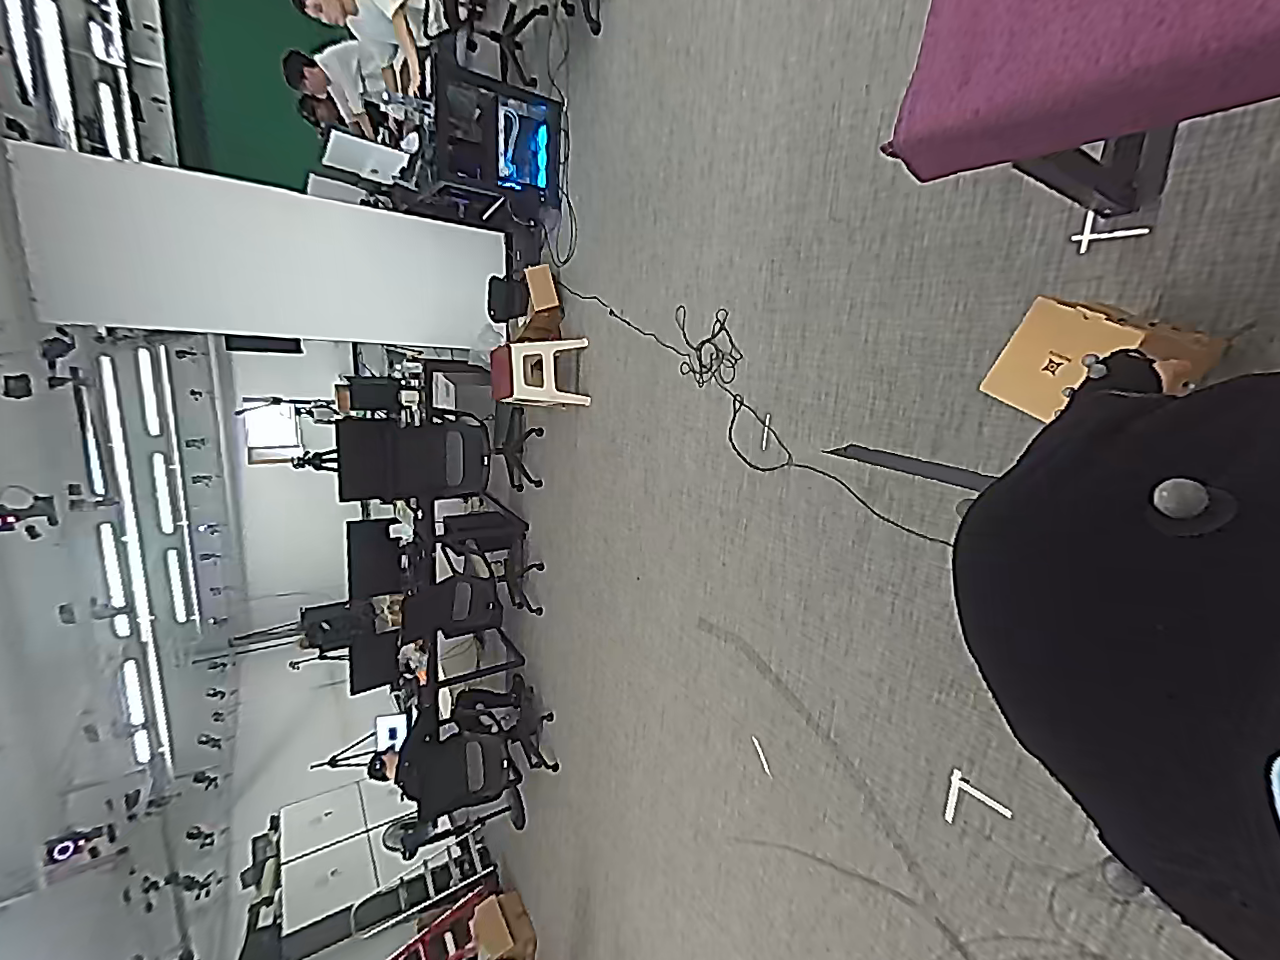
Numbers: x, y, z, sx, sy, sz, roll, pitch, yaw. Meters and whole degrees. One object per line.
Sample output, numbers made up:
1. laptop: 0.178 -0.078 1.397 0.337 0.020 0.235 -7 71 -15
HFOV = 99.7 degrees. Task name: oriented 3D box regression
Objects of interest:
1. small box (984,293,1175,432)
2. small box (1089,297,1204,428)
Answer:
1. small box: 0.743 -0.198 0.917 0.168 0.176 0.179 48 132 41
2. small box: 0.881 -0.216 1.003 0.168 0.176 0.179 55 137 36
